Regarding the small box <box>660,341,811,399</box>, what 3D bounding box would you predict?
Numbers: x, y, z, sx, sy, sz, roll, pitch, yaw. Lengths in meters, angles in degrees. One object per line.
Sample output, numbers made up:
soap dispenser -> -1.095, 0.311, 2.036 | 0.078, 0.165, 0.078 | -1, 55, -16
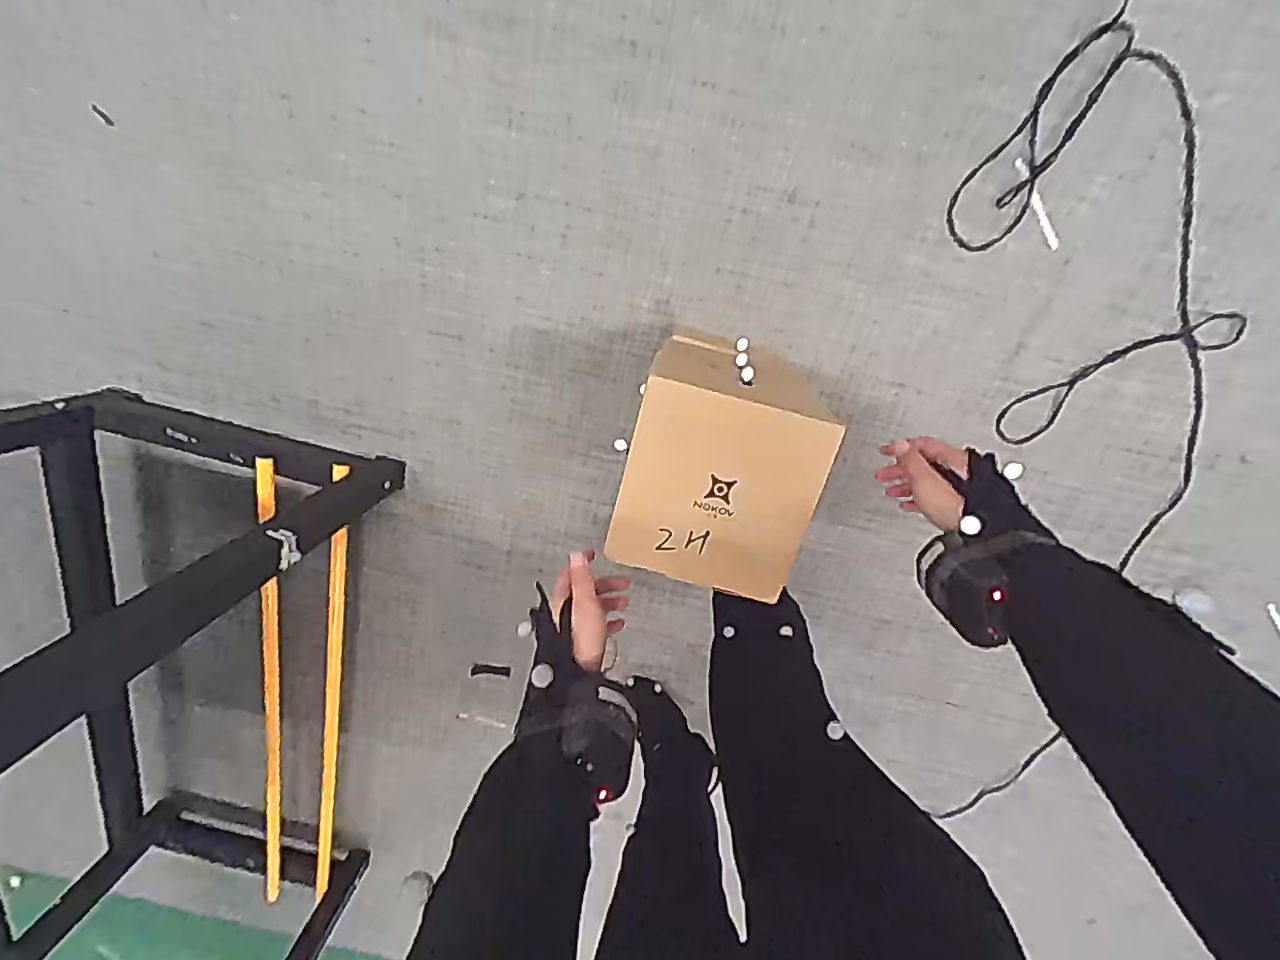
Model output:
small box -> 0.093, -0.074, 0.686 | 0.179, 0.176, 0.168 | 14, 110, 1

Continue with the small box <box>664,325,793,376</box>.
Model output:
small box -> 0.110, -0.135, 0.835 | 0.179, 0.176, 0.168 | 16, 110, -2

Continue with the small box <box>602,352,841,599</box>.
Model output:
small box -> 0.070, -0.018, 0.533 | 0.168, 0.176, 0.179 | 15, 111, 0
